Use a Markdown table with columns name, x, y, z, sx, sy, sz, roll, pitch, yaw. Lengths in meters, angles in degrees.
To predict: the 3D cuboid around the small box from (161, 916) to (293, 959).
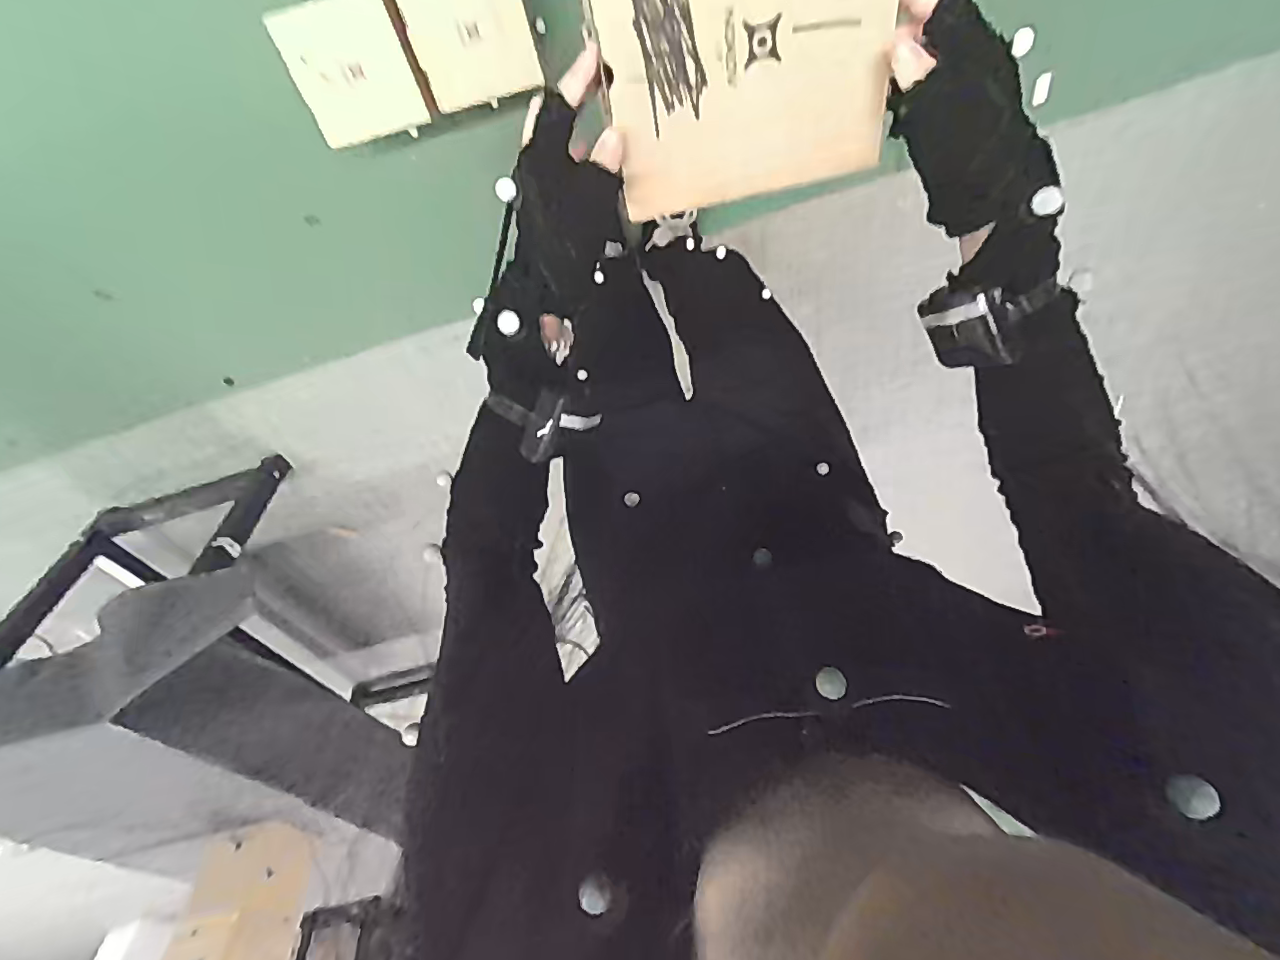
| name | x | y | z | sx | sy | sz | roll | pitch | yaw |
| --- | --- | --- | --- | --- | --- | --- | --- | --- | --- |
| small box | -0.870 | 1.025 | 1.113 | 0.168 | 0.176 | 0.179 | -17 | 131 | 7 |

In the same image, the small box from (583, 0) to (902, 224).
| name | x | y | z | sx | sy | sz | roll | pitch | yaw |
| --- | --- | --- | --- | --- | --- | --- | --- | --- | --- |
| small box | 0.055 | -0.300 | 0.367 | 0.179 | 0.176 | 0.168 | -11 | 134 | 2 |
